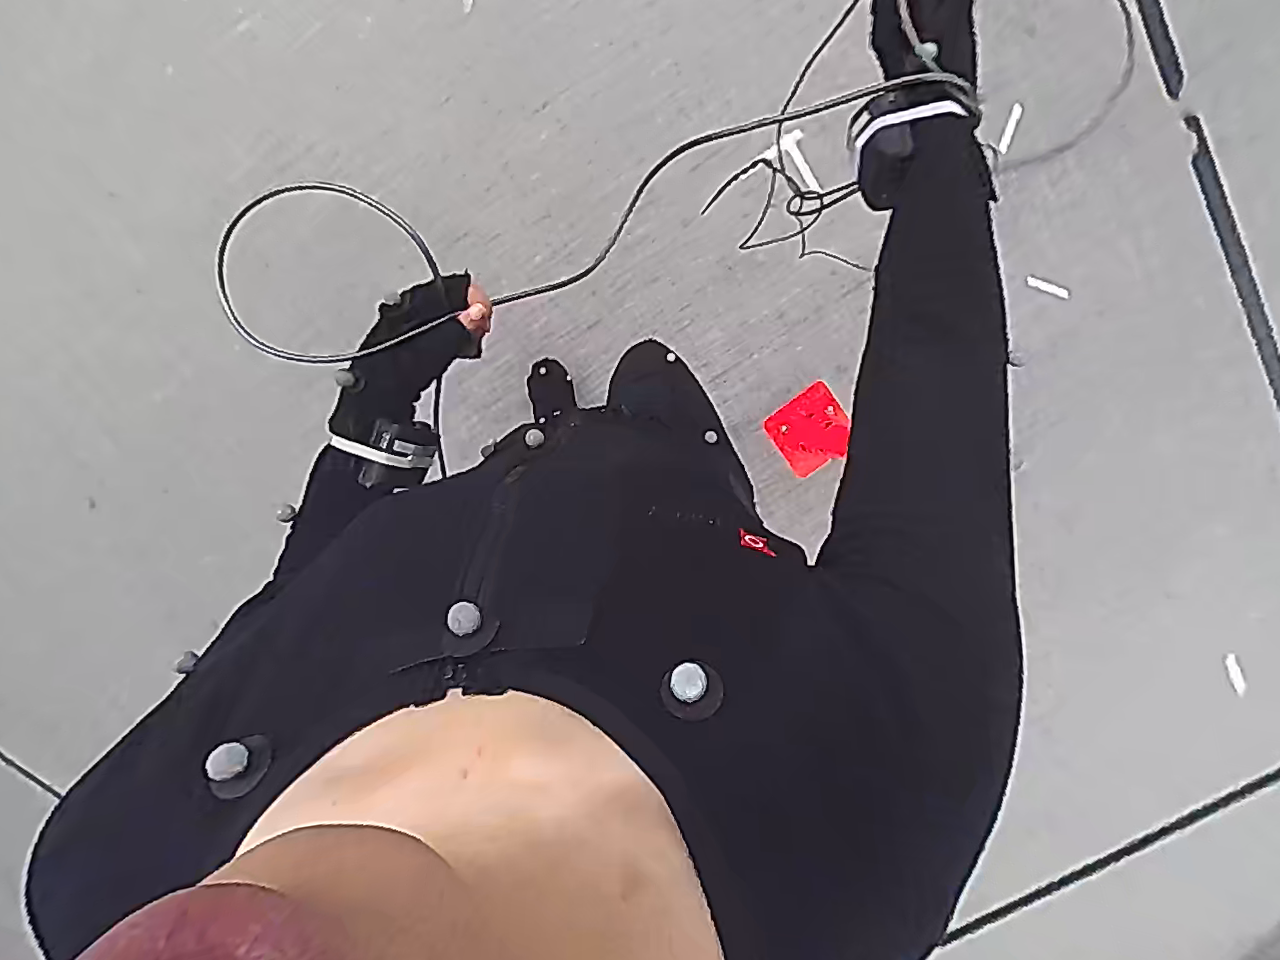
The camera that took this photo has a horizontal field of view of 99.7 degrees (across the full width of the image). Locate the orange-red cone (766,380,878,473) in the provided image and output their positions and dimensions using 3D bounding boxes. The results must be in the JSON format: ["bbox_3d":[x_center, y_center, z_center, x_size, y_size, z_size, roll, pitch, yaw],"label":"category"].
[{"bbox_3d":[0.463,-0.100,1.269,0.198,0.360,0.199,-37,102,7],"label":"orange-red cone"}]
